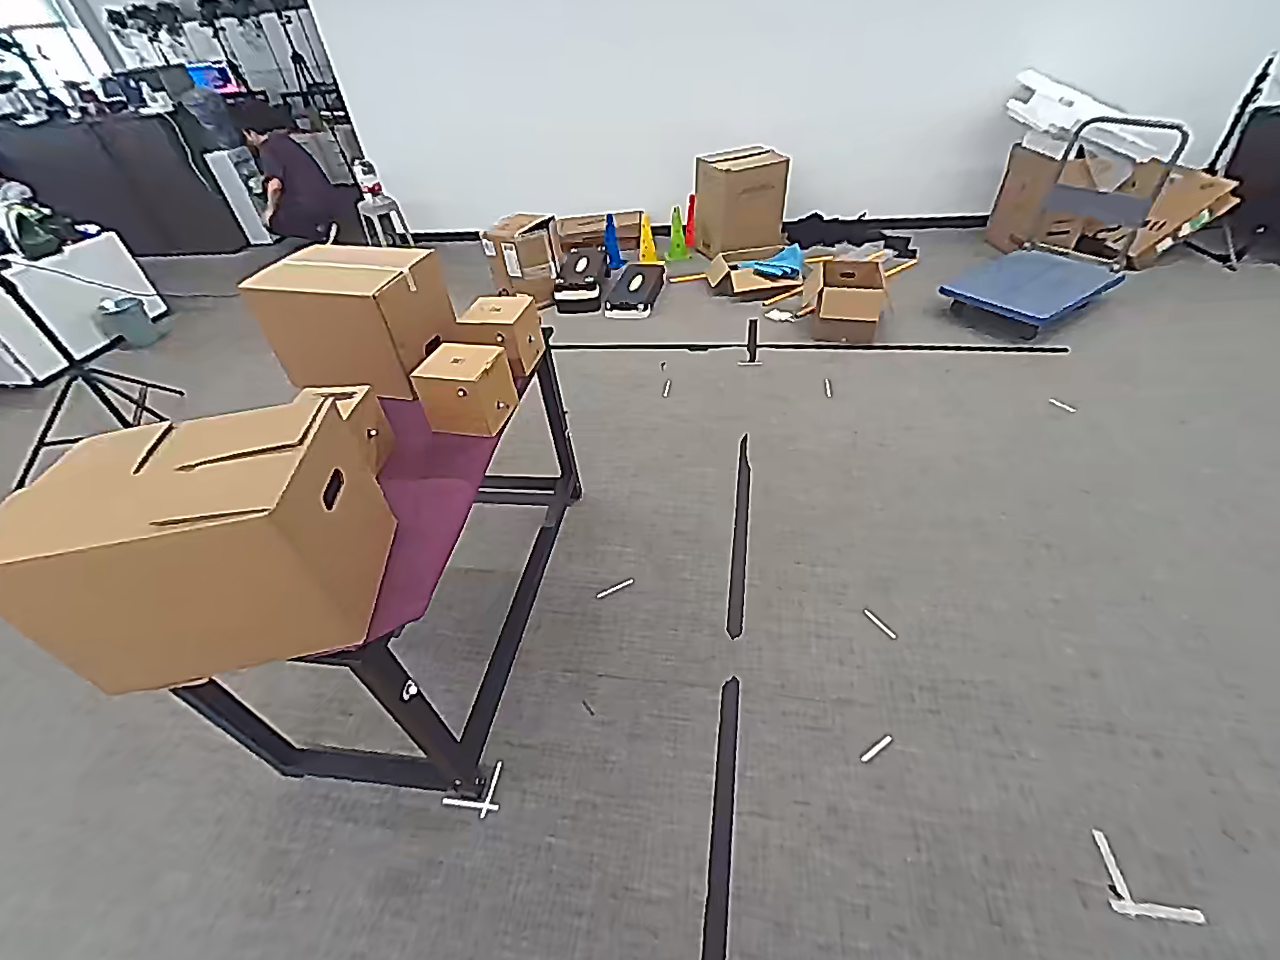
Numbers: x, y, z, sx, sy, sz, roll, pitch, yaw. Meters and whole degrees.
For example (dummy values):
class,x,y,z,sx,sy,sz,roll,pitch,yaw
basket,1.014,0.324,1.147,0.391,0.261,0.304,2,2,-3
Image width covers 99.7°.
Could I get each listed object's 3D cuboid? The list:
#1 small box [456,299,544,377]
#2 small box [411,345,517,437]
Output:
class,x,y,z,sx,sy,sz,roll,pitch,yaw
small box,-0.396,-0.410,1.569,0.179,0.176,0.168,3,42,13
small box,-0.435,-0.225,1.369,0.179,0.176,0.168,6,43,13
